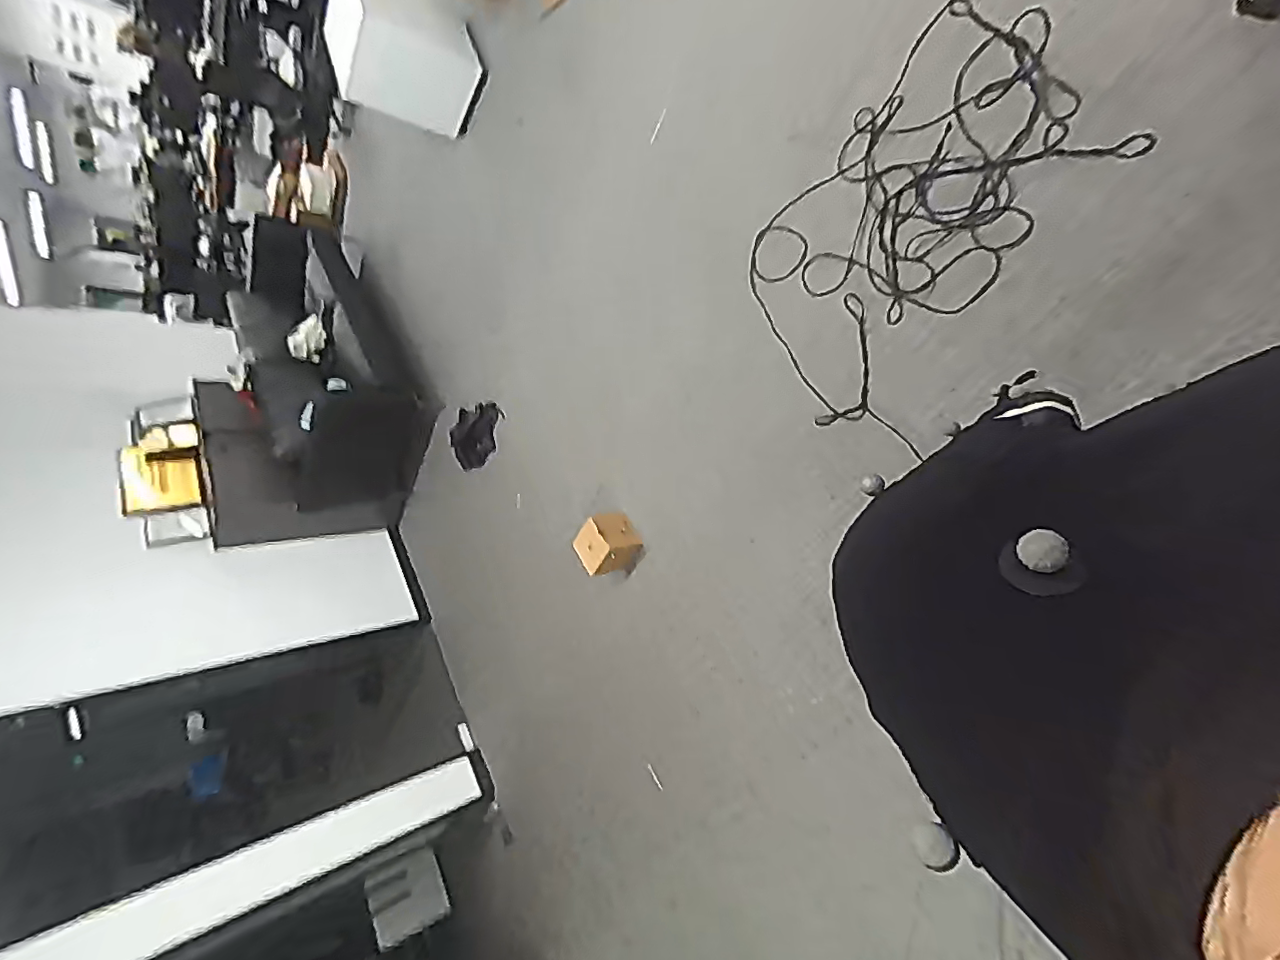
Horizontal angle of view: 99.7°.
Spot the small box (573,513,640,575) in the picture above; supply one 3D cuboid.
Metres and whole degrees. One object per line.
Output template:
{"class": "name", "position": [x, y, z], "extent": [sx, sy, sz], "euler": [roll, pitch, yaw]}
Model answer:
{"class": "small box", "position": [-0.128, 0.246, 2.110], "extent": [0.168, 0.176, 0.179], "euler": [54, 128, 30]}
